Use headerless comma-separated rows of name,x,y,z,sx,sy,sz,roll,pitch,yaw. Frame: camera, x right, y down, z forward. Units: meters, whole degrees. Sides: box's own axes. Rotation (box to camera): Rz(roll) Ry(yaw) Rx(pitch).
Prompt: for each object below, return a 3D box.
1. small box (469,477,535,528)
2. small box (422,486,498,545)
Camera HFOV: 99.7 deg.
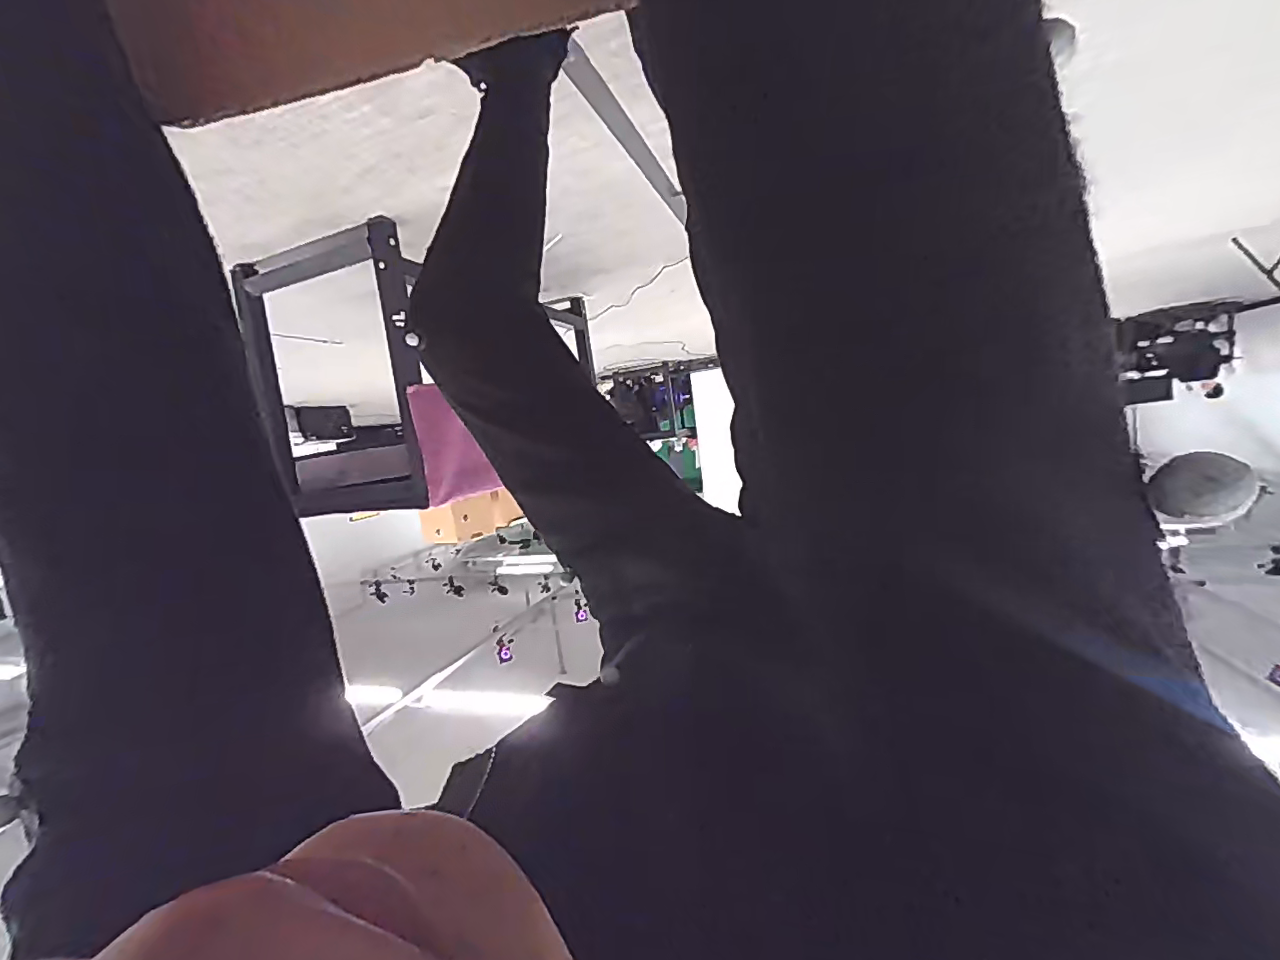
small box,-0.529,0.082,2.059,0.179,0.176,0.168,-4,-174,30
small box,-0.606,0.114,1.810,0.179,0.176,0.168,-4,-174,32
